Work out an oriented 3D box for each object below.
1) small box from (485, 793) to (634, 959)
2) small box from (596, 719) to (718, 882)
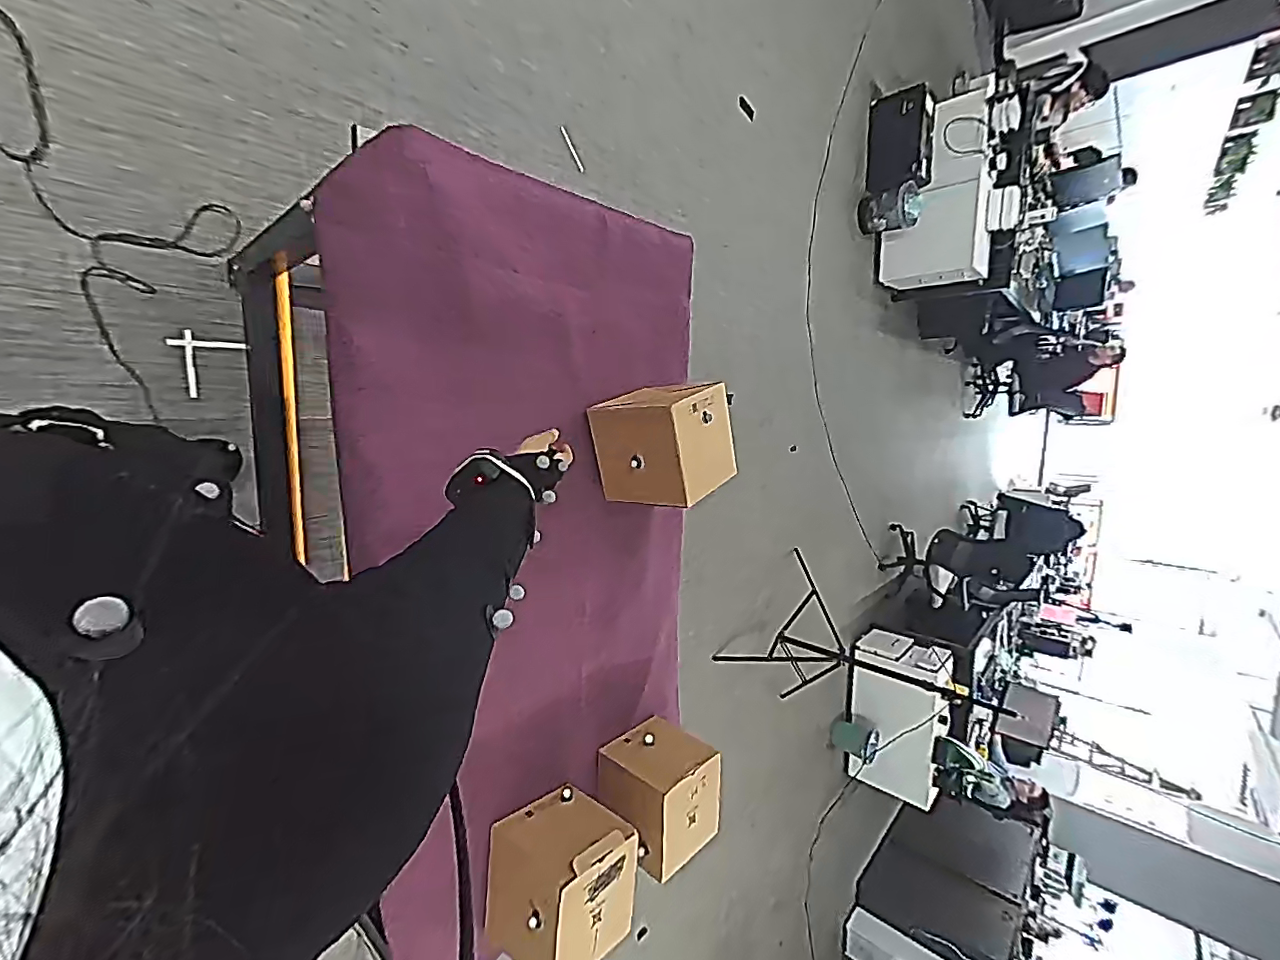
[{"bbox_3d":[-0.129,0.634,0.858,0.168,0.176,0.179,1,95,-49],"label":"small box"},{"bbox_3d":[0.029,0.594,1.028,0.168,0.176,0.179,-7,101,-47],"label":"small box"}]
